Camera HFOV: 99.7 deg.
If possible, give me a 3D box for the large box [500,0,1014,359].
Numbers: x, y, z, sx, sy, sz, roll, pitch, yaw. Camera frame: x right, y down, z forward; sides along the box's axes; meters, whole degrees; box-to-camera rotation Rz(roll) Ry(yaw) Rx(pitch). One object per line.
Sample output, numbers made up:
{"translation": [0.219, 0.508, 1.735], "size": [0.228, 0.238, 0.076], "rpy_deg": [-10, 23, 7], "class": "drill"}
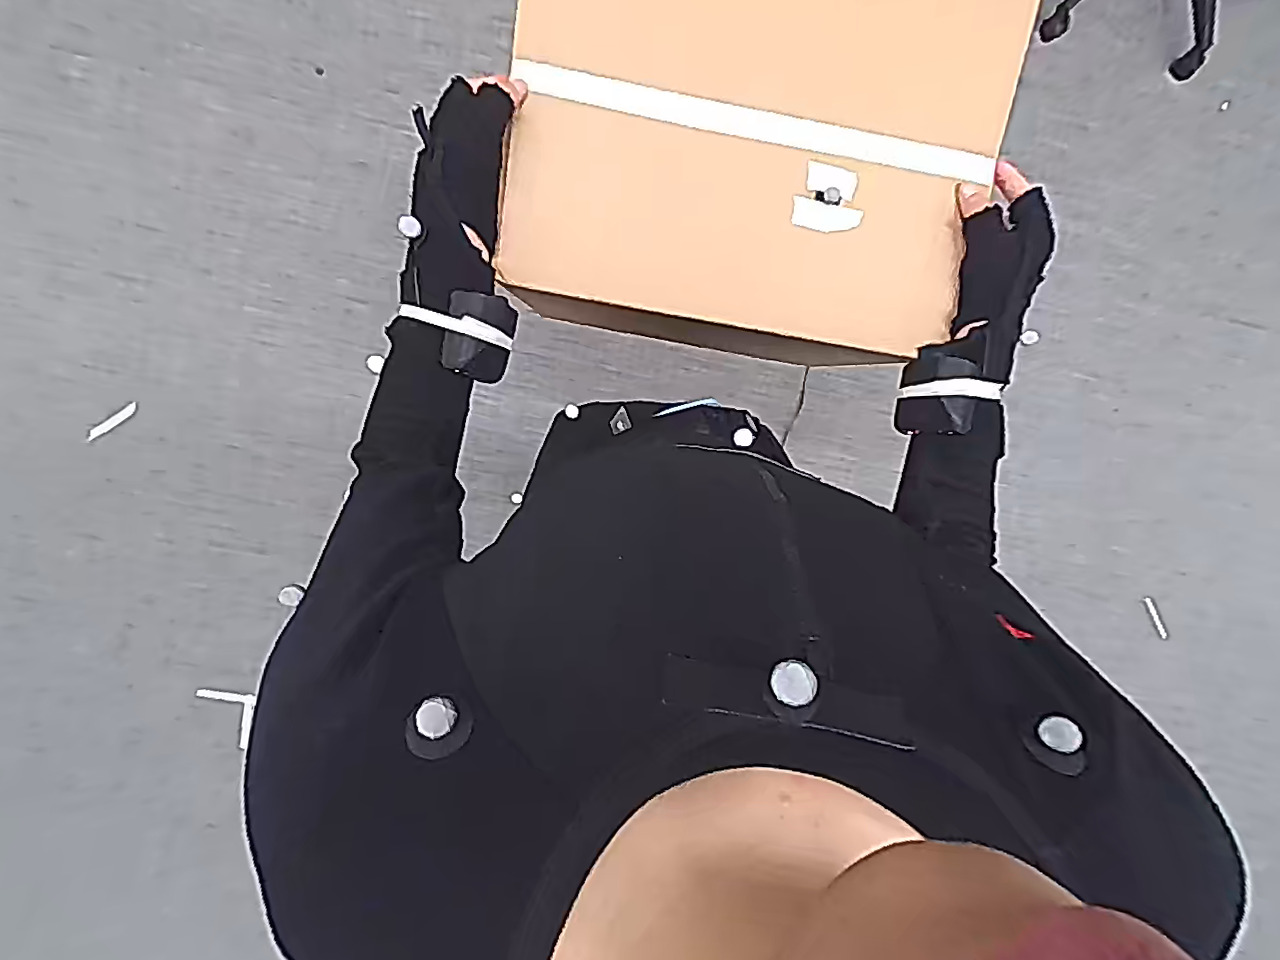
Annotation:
{"translation": [0.084, -0.323, 0.604], "size": [0.408, 0.320, 0.320], "rpy_deg": [9, 102, -5], "class": "large box"}
